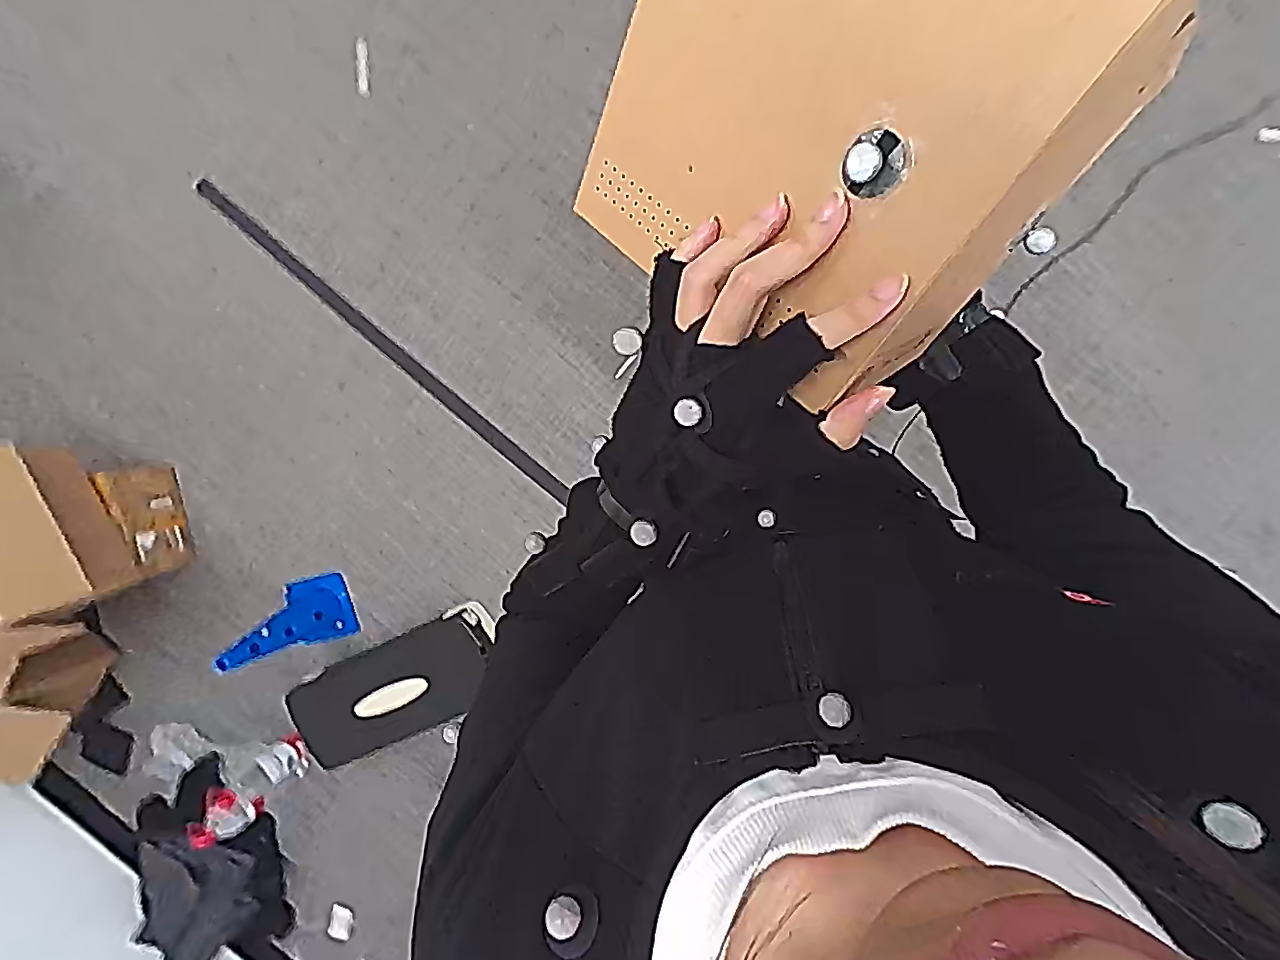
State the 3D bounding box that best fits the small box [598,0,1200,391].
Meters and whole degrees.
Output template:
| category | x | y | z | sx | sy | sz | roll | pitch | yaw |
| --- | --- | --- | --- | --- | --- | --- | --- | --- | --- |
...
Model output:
| category | x | y | z | sx | sy | sz | roll | pitch | yaw |
| --- | --- | --- | --- | --- | --- | --- | --- | --- | --- |
| small box | 0.110 | -0.162 | 0.273 | 0.179 | 0.168 | 0.176 | 46 | 133 | 17 |
